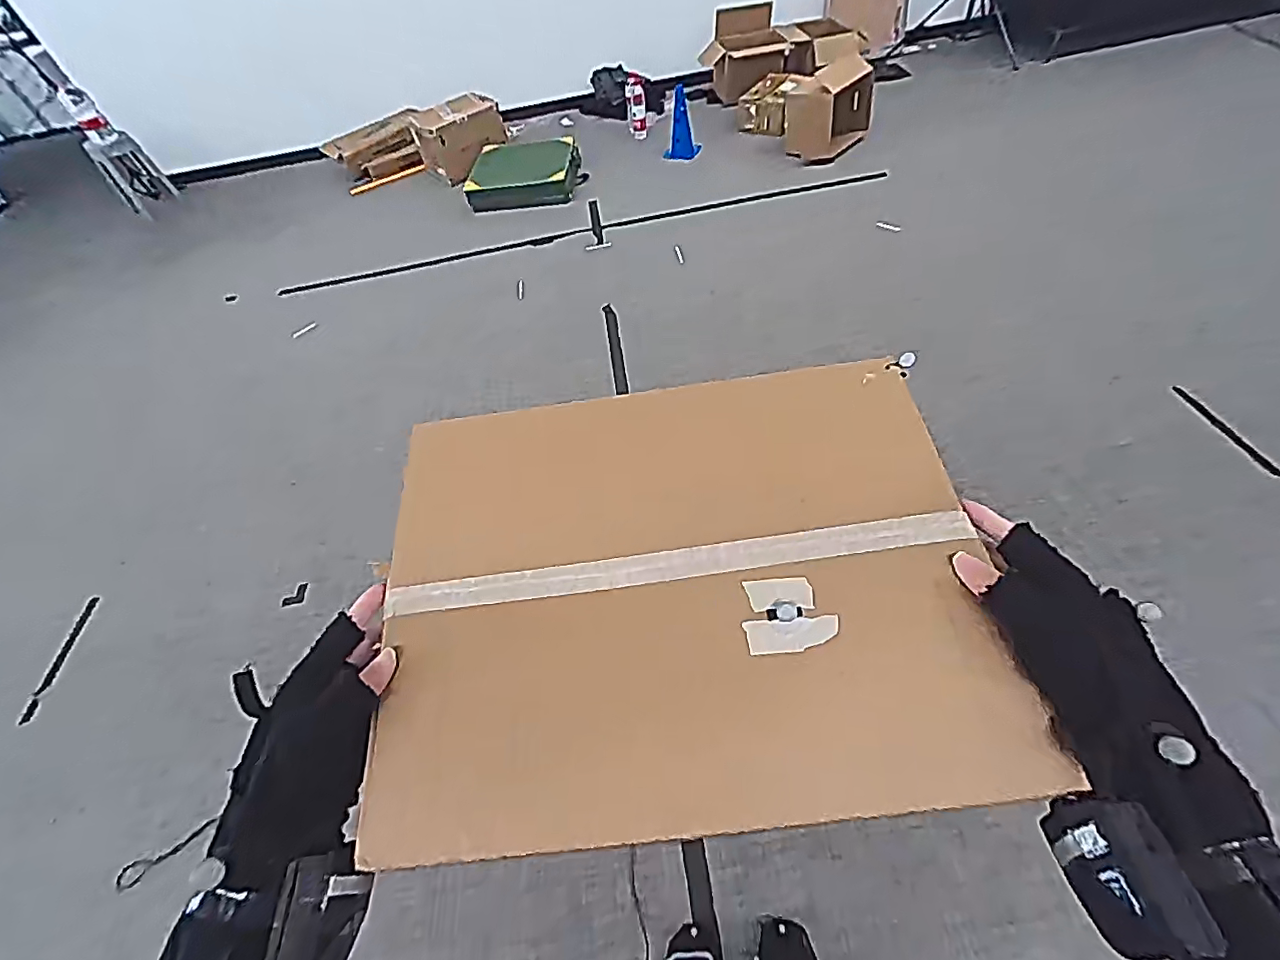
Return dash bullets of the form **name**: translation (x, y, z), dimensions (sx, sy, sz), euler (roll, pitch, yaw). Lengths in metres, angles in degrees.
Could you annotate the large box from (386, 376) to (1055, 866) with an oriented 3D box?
- **large box**: translation (0.041, 0.143, 0.517), dimensions (0.408, 0.320, 0.320), euler (-8, 60, 2)
